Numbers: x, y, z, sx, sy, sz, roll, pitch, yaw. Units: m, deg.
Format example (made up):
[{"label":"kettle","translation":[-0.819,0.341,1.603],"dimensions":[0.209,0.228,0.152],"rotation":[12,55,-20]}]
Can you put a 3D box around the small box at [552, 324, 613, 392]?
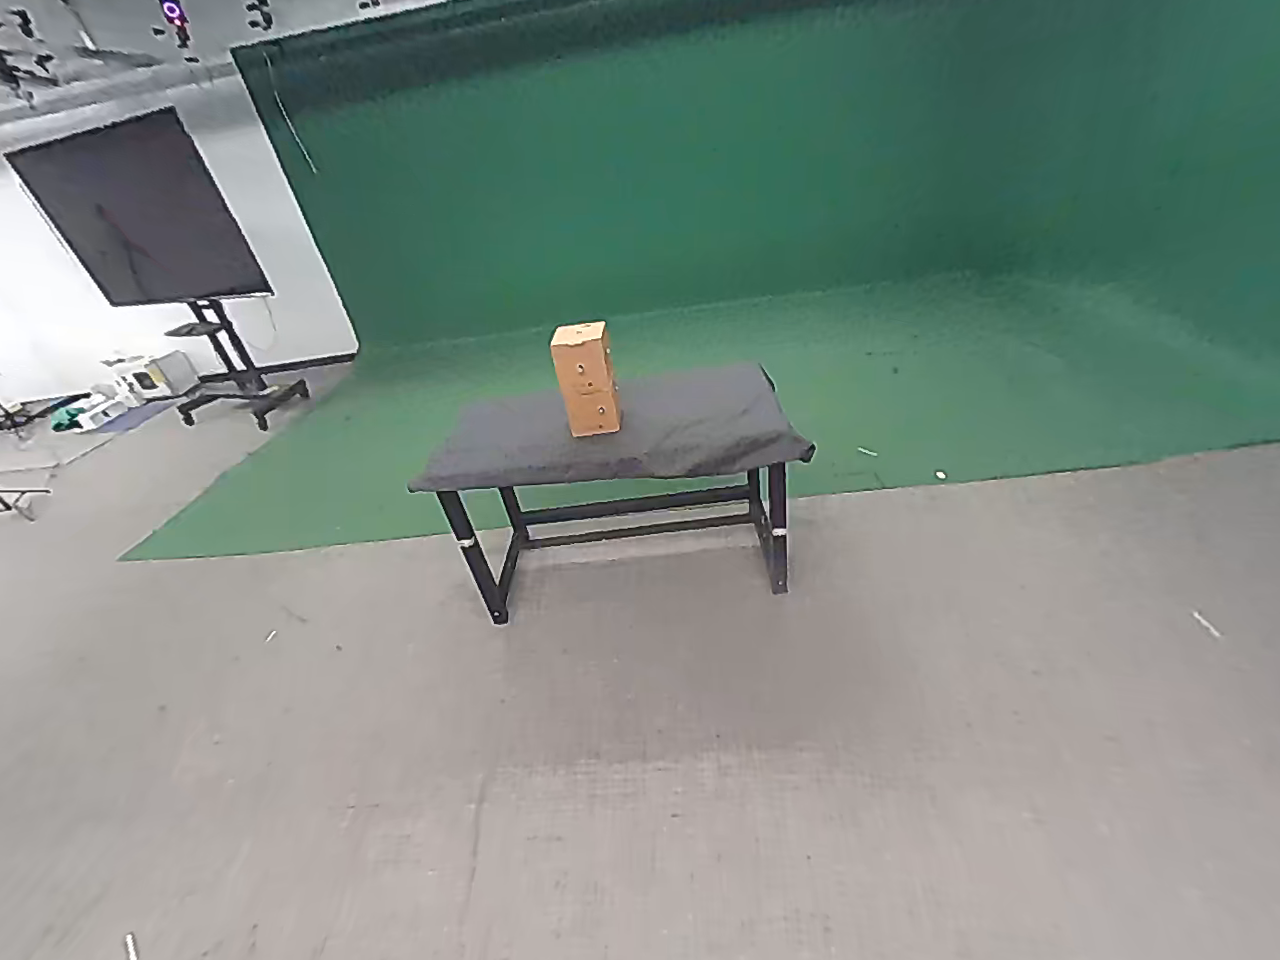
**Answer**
[{"label":"small box","translation":[-0.185,-0.403,1.811],"dimensions":[0.168,0.176,0.179],"rotation":[-5,34,5]}]

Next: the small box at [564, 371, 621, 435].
[{"label":"small box","translation":[-0.160,-0.265,1.895],"dimensions":[0.168,0.176,0.179],"rotation":[-6,32,4]}]
